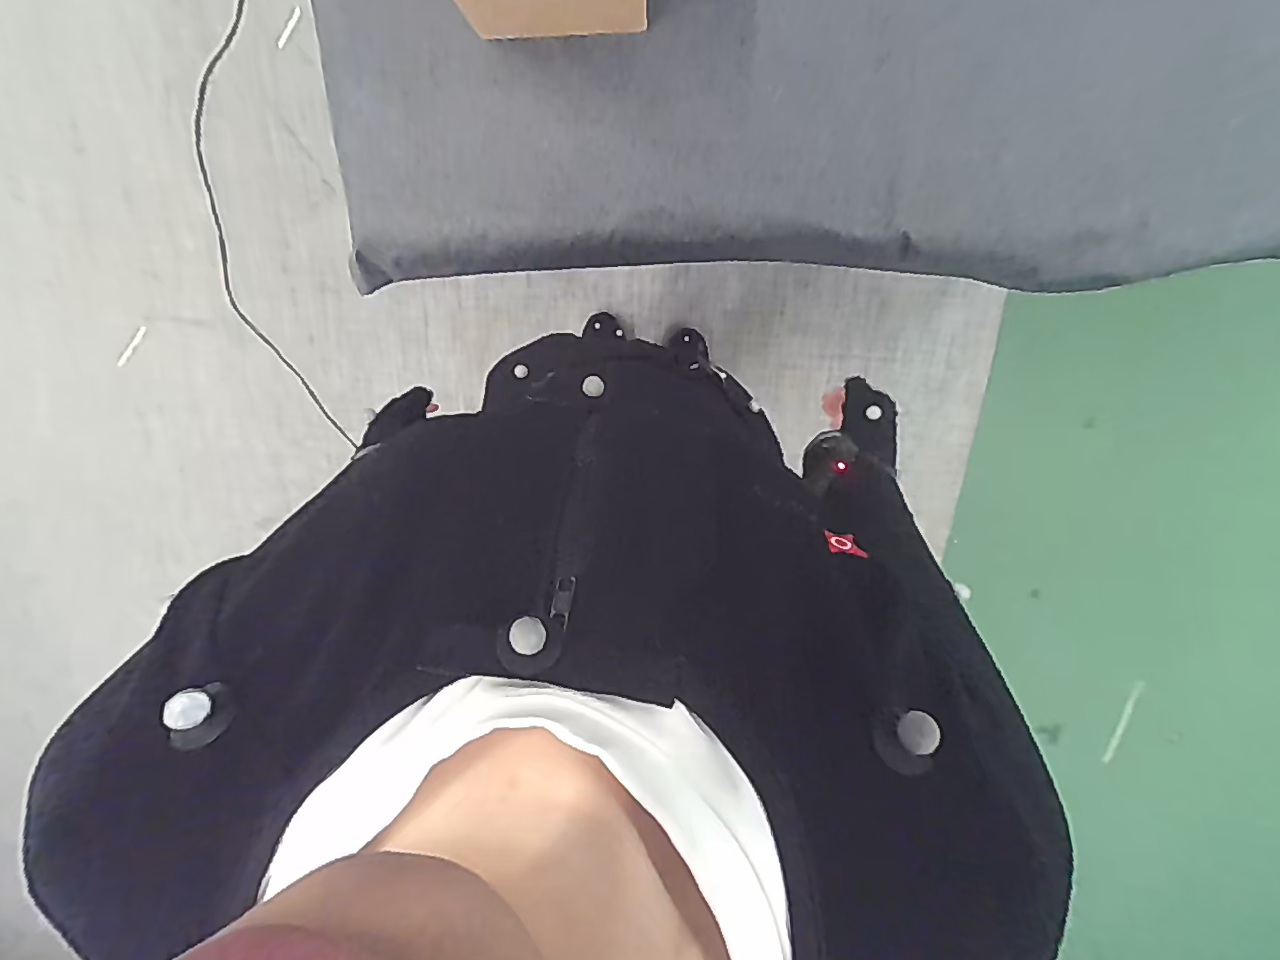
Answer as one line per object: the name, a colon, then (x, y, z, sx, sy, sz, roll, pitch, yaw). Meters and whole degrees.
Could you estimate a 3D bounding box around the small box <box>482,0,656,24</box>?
small box: (-0.076, -0.527, 0.463, 0.179, 0.176, 0.168, -1, 110, 2)
